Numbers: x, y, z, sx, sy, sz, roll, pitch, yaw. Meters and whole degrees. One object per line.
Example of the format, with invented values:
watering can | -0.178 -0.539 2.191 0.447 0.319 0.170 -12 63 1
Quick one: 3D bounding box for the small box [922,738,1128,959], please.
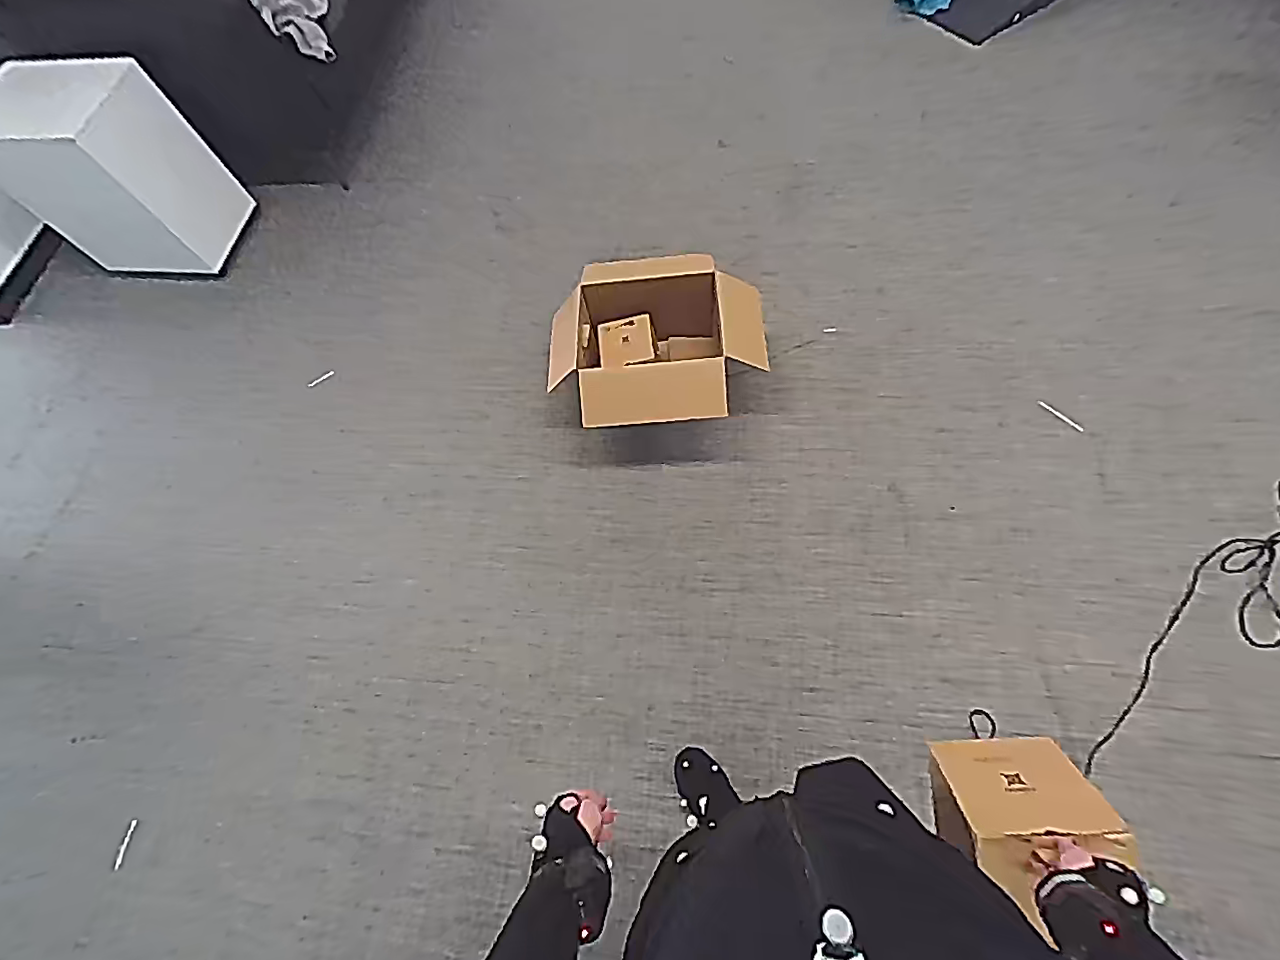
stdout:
small box | 0.487 0.466 0.701 0.168 0.179 0.176 -7 97 12
